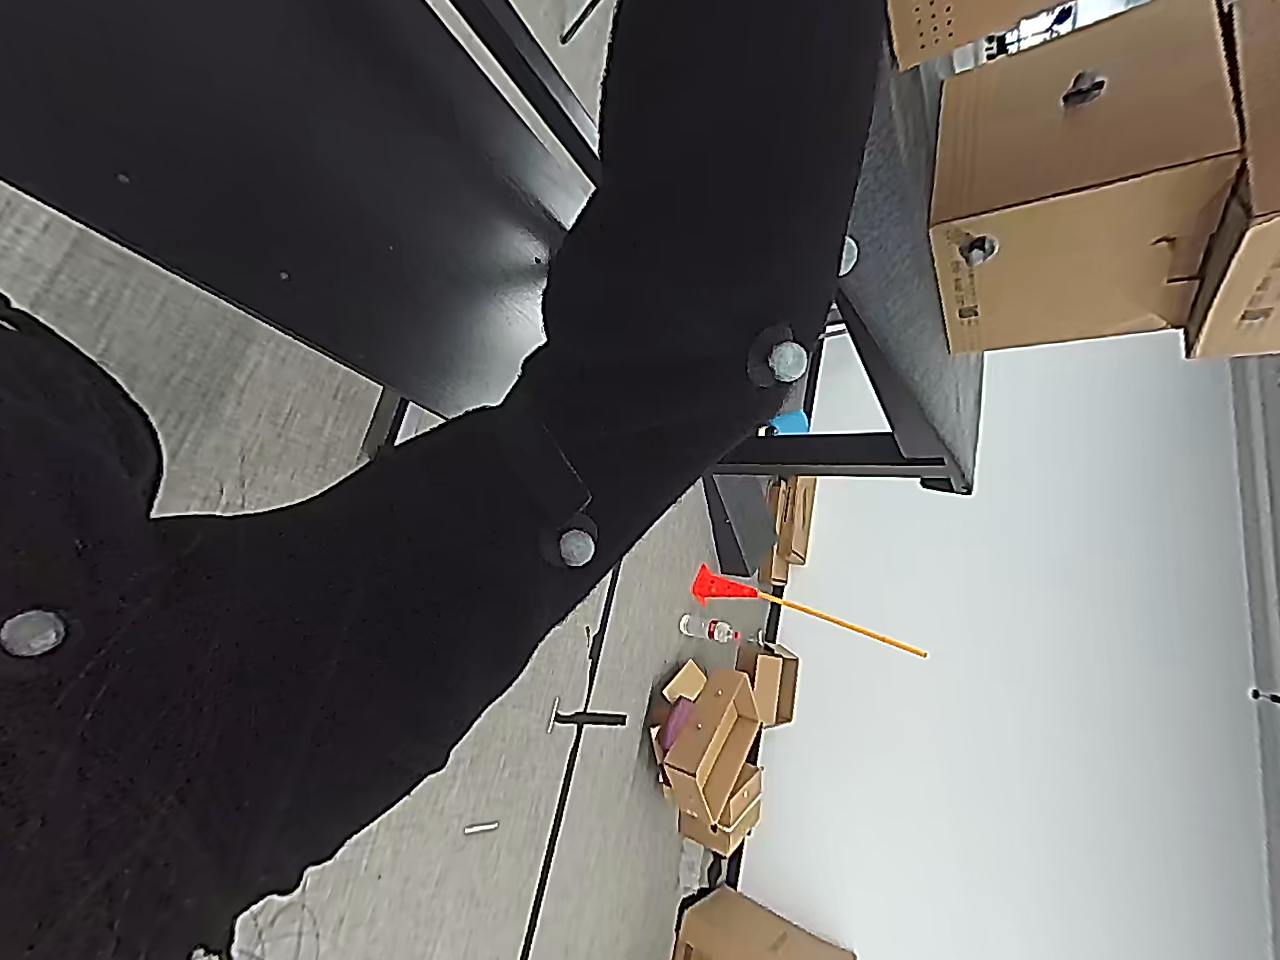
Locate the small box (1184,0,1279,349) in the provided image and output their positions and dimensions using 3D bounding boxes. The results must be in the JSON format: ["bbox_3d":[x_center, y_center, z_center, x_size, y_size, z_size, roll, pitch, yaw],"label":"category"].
[{"bbox_3d":[0.476,-0.202,0.347,0.168,0.176,0.179,31,65,-52],"label":"small box"}]

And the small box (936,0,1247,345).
[{"bbox_3d":[0.351,-0.234,0.450,0.168,0.176,0.179,39,59,-48],"label":"small box"}]
